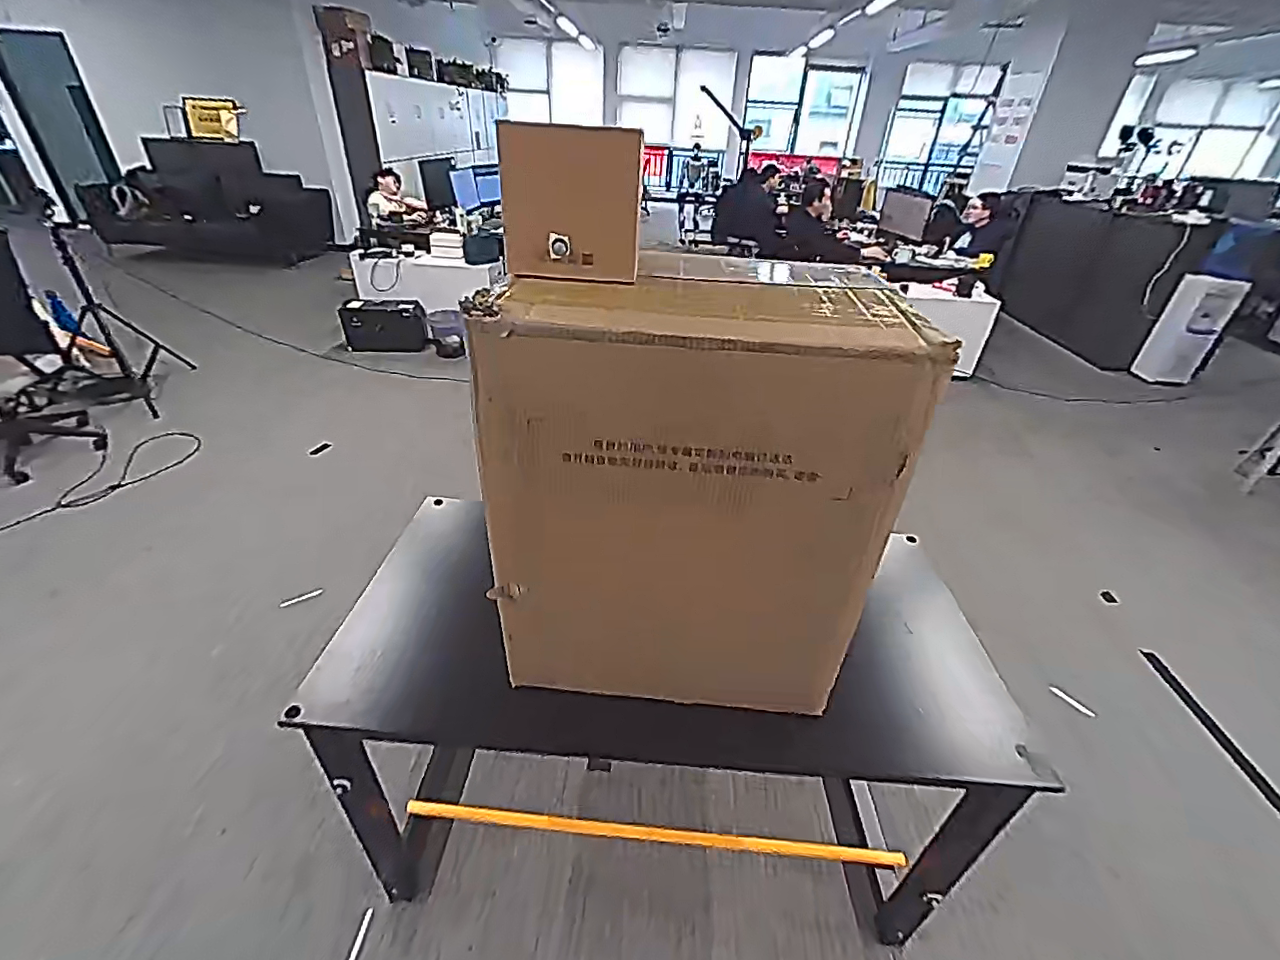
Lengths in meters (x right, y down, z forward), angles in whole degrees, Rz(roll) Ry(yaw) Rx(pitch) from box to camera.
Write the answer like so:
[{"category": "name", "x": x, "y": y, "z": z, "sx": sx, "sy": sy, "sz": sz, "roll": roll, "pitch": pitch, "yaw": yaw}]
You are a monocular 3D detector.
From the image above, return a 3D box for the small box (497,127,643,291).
[{"category": "small box", "x": -0.082, "y": -0.358, "z": 0.713, "sx": 0.168, "sy": 0.176, "sz": 0.179, "roll": 2, "pitch": 33, "yaw": -1}]
